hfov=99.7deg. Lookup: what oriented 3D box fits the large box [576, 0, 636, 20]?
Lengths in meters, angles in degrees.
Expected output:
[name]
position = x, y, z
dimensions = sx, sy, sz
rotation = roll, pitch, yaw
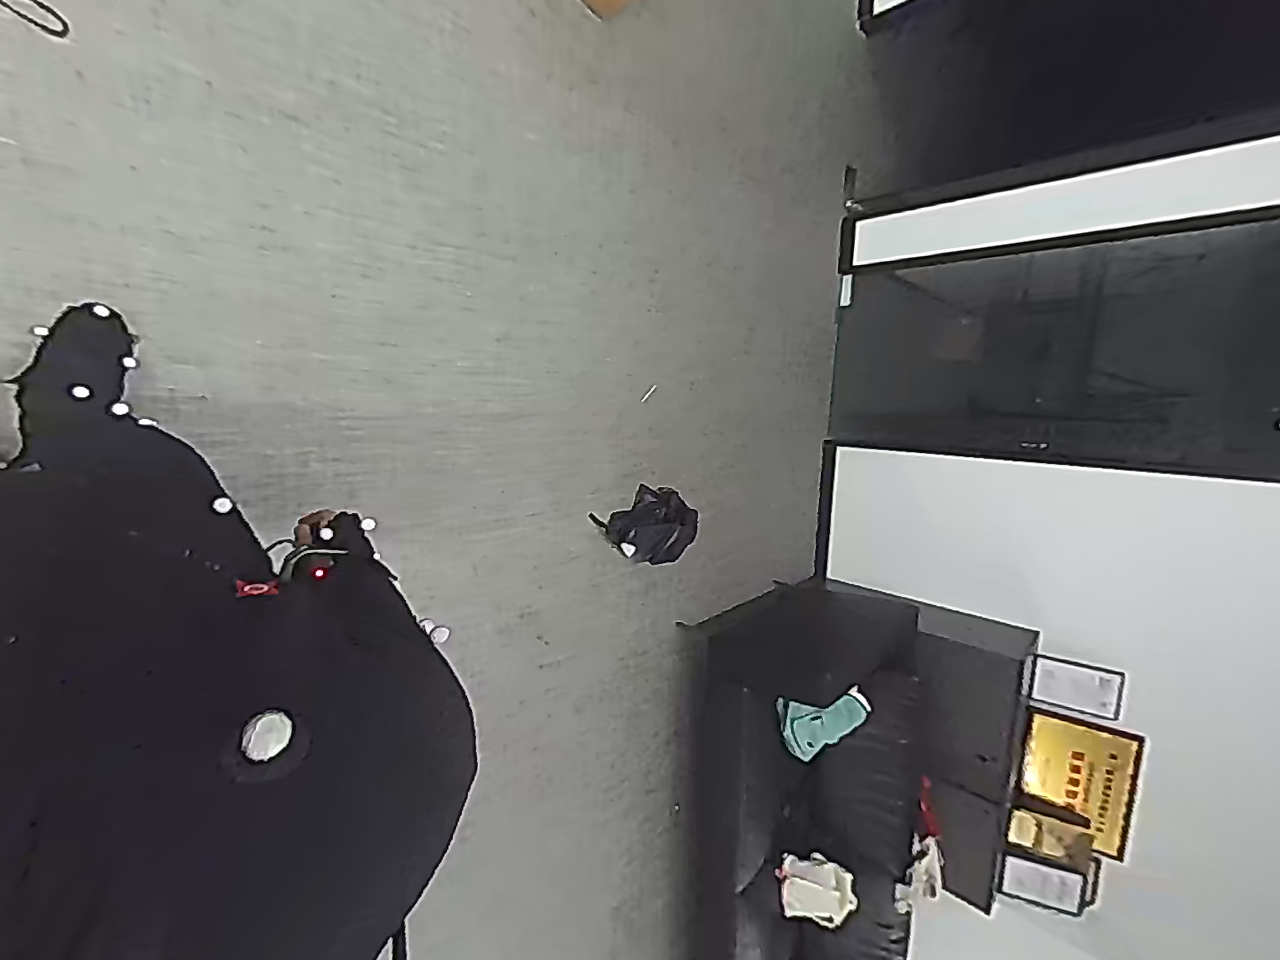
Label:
[large box]
position = -0.090, -1.581, 1.431
dimensions = 0.320, 0.320, 0.408
rotation = 2, 97, -47
